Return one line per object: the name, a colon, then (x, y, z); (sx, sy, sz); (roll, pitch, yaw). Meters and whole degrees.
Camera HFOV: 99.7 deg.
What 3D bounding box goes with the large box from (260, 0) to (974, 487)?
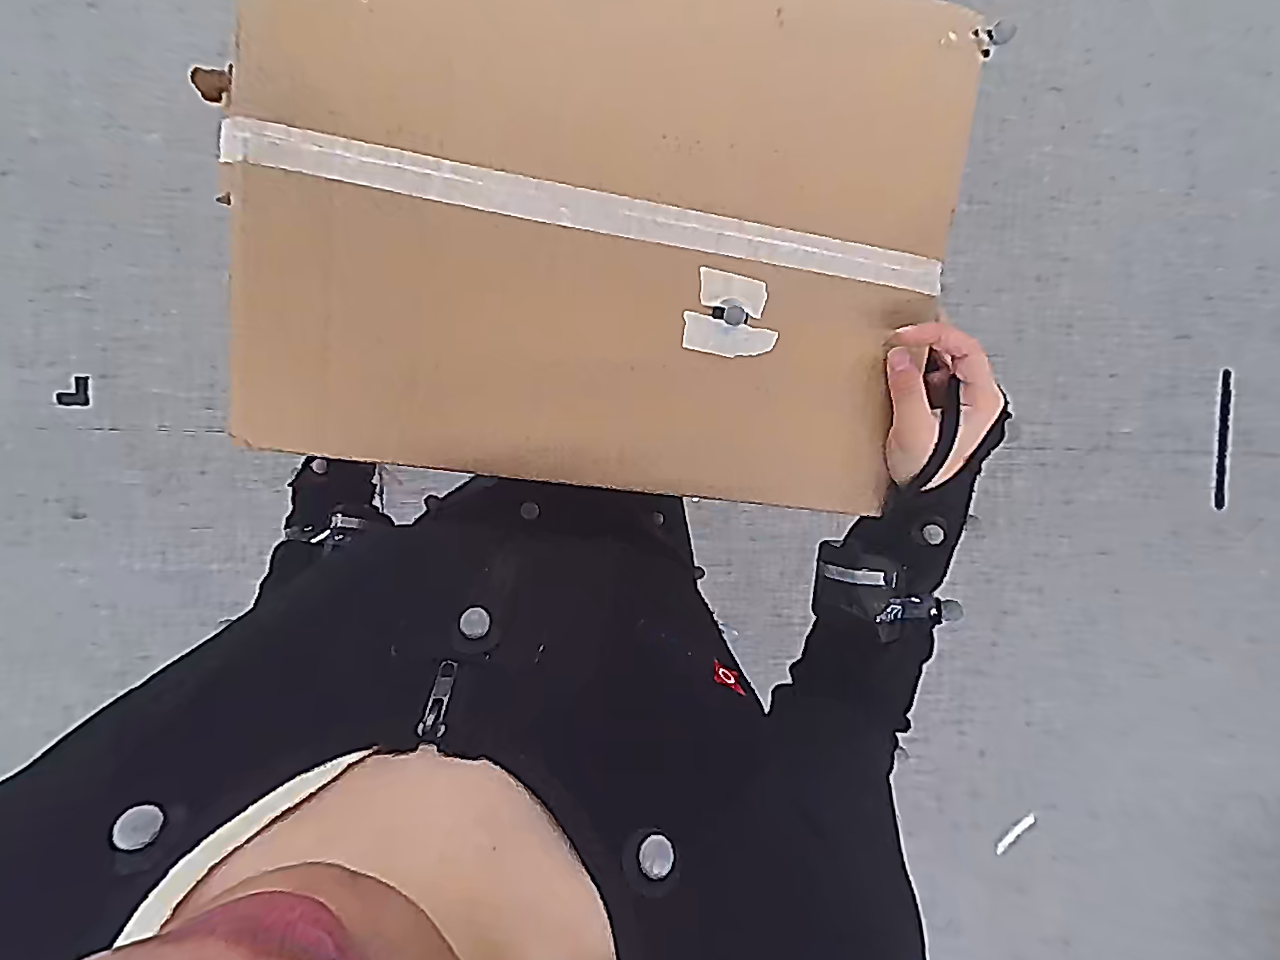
large box: (-0.029, -0.185, 0.462); (0.408, 0.320, 0.320); (6, 99, -12)
